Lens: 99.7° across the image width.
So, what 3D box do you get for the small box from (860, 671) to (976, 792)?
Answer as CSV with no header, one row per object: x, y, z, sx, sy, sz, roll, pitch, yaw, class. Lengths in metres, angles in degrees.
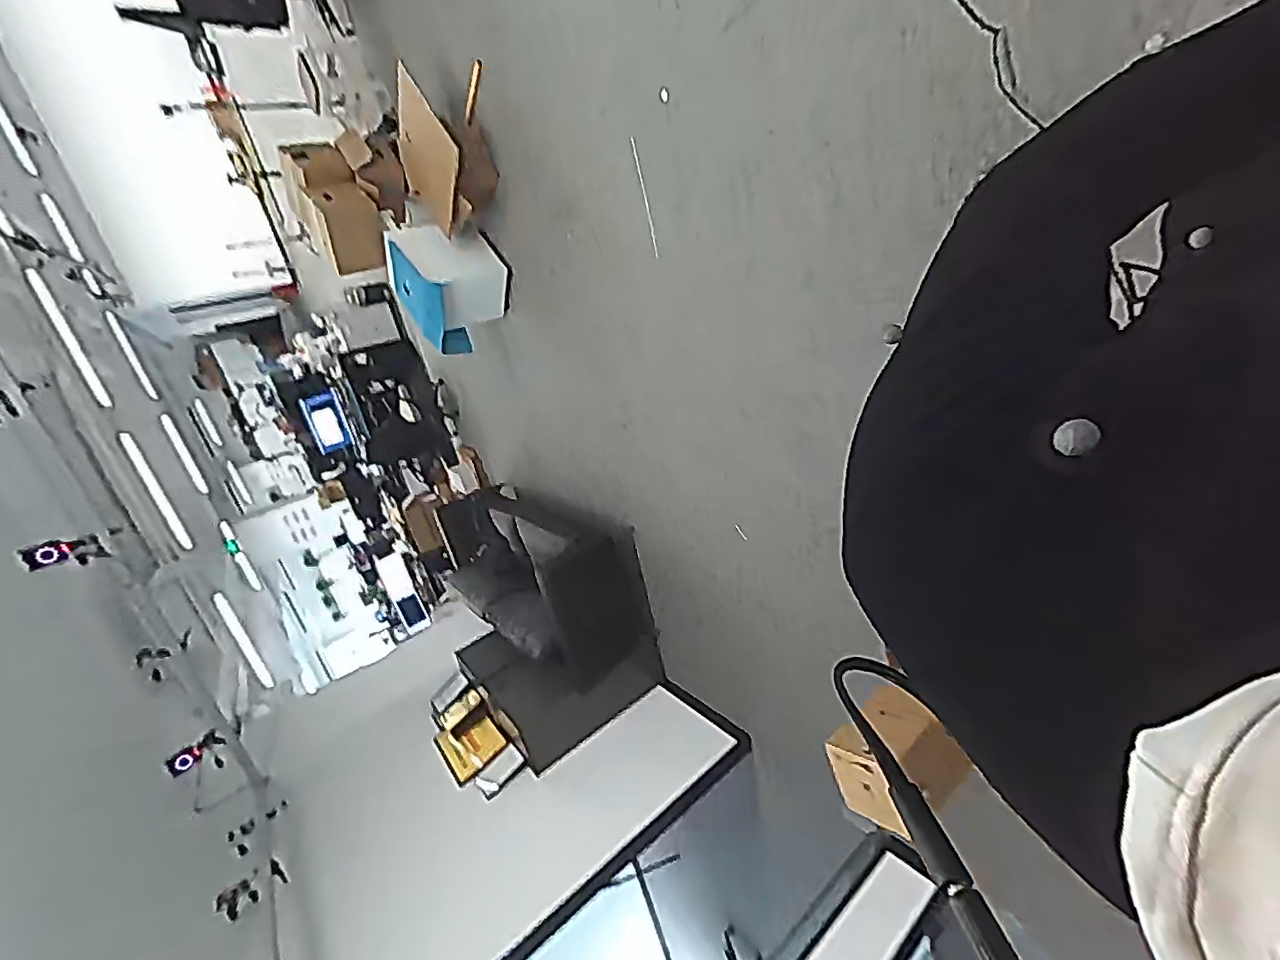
0.659,0.583,1.282,0.168,0.176,0.179,-7,105,58,small box

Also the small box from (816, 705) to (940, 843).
0.530,0.640,1.199,0.168,0.176,0.179,-12,102,57,small box
